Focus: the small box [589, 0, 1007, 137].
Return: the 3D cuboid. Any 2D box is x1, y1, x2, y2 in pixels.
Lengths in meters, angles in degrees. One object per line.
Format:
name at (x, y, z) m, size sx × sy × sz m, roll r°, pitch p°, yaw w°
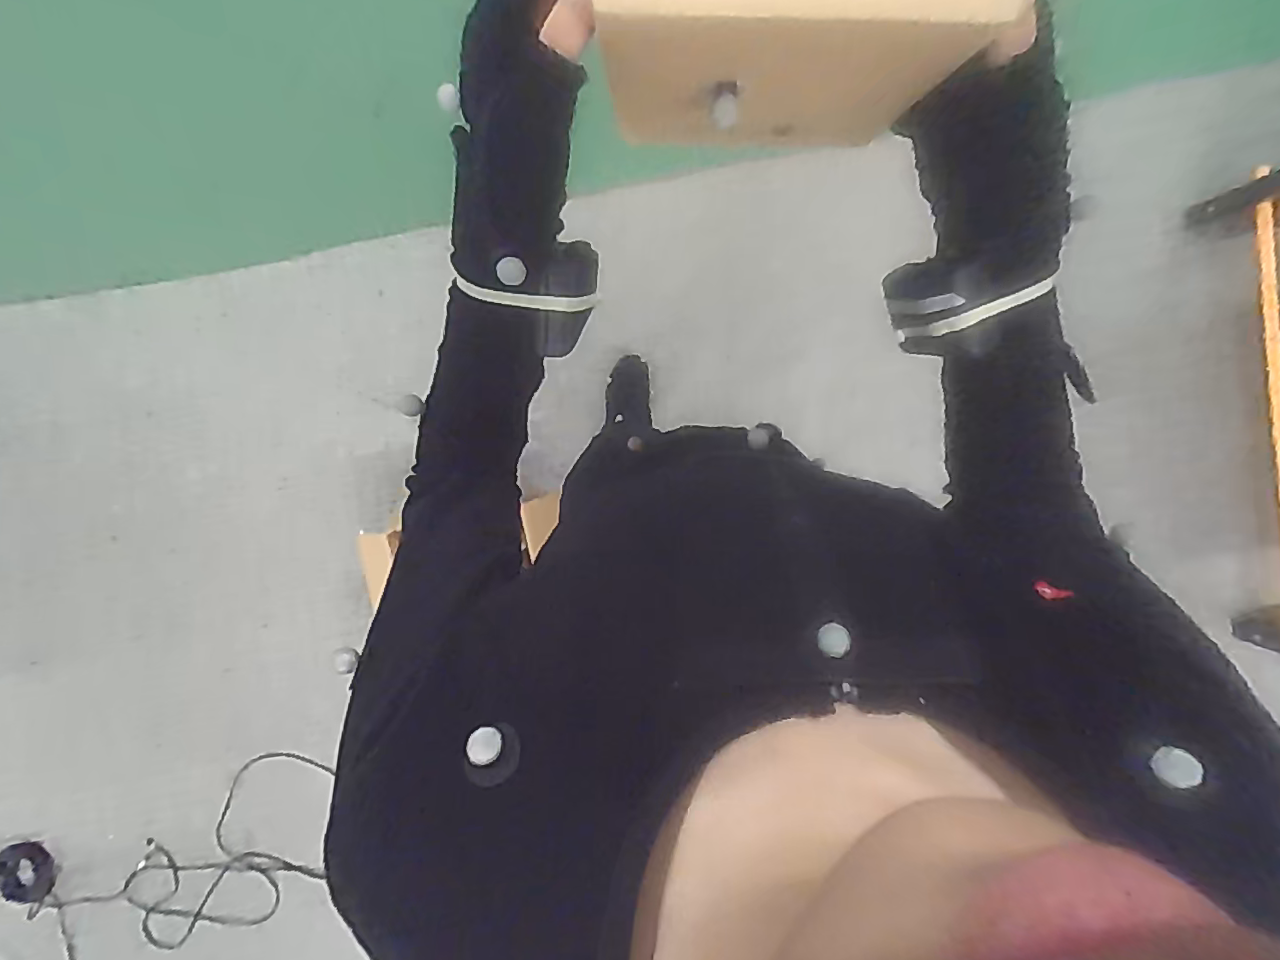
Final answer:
small box at (0.069, -0.286, 0.259) m, size 0.168 × 0.176 × 0.179 m, roll 3°, pitch 106°, yaw 2°
